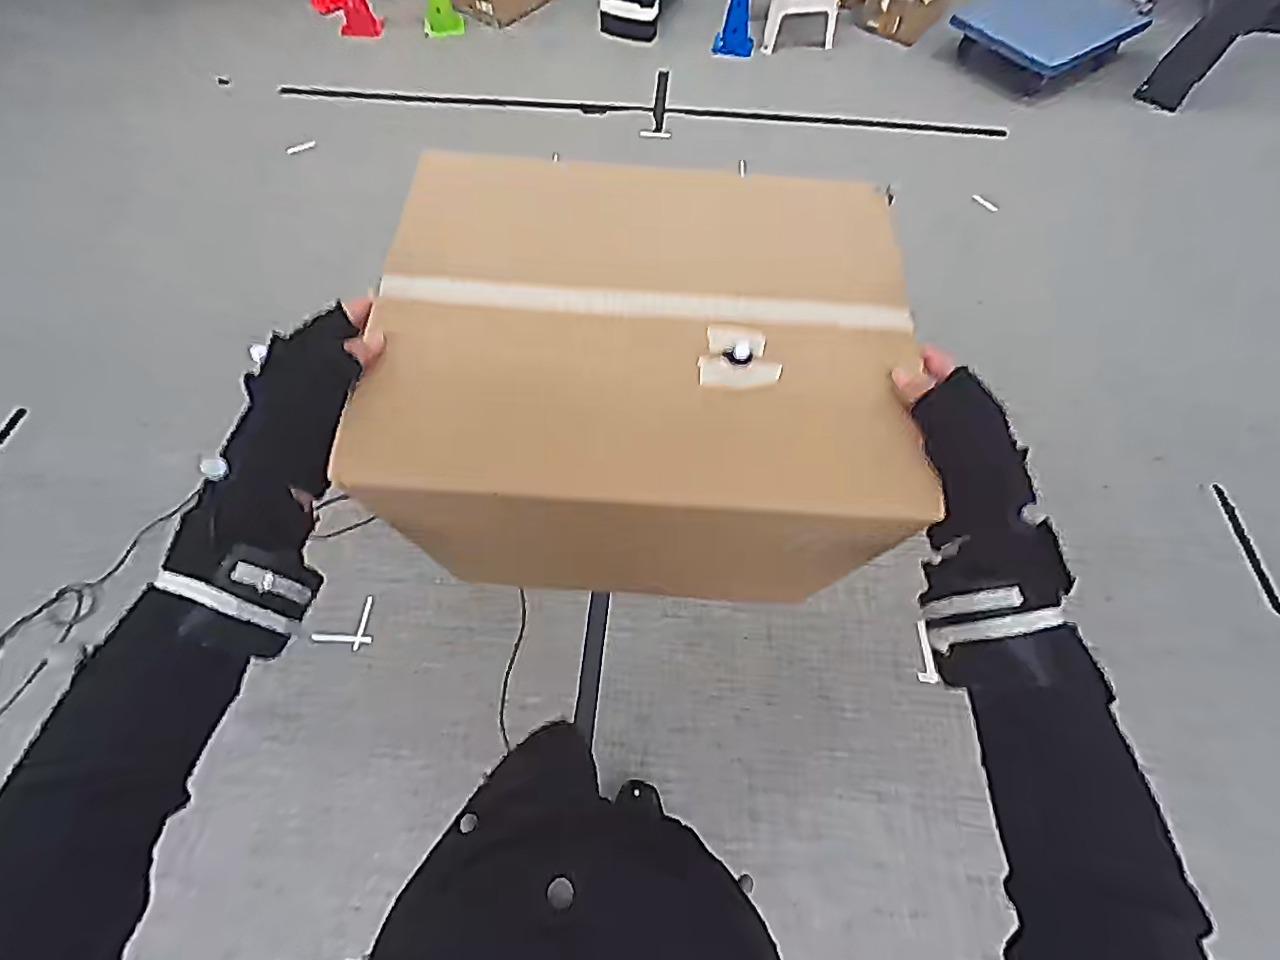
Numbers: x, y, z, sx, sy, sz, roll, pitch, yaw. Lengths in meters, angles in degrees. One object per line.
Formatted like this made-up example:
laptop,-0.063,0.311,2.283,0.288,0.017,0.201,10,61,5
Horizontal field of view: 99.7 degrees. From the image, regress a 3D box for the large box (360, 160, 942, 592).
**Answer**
large box,0.007,-0.073,0.557,0.408,0.320,0.320,4,68,-2
